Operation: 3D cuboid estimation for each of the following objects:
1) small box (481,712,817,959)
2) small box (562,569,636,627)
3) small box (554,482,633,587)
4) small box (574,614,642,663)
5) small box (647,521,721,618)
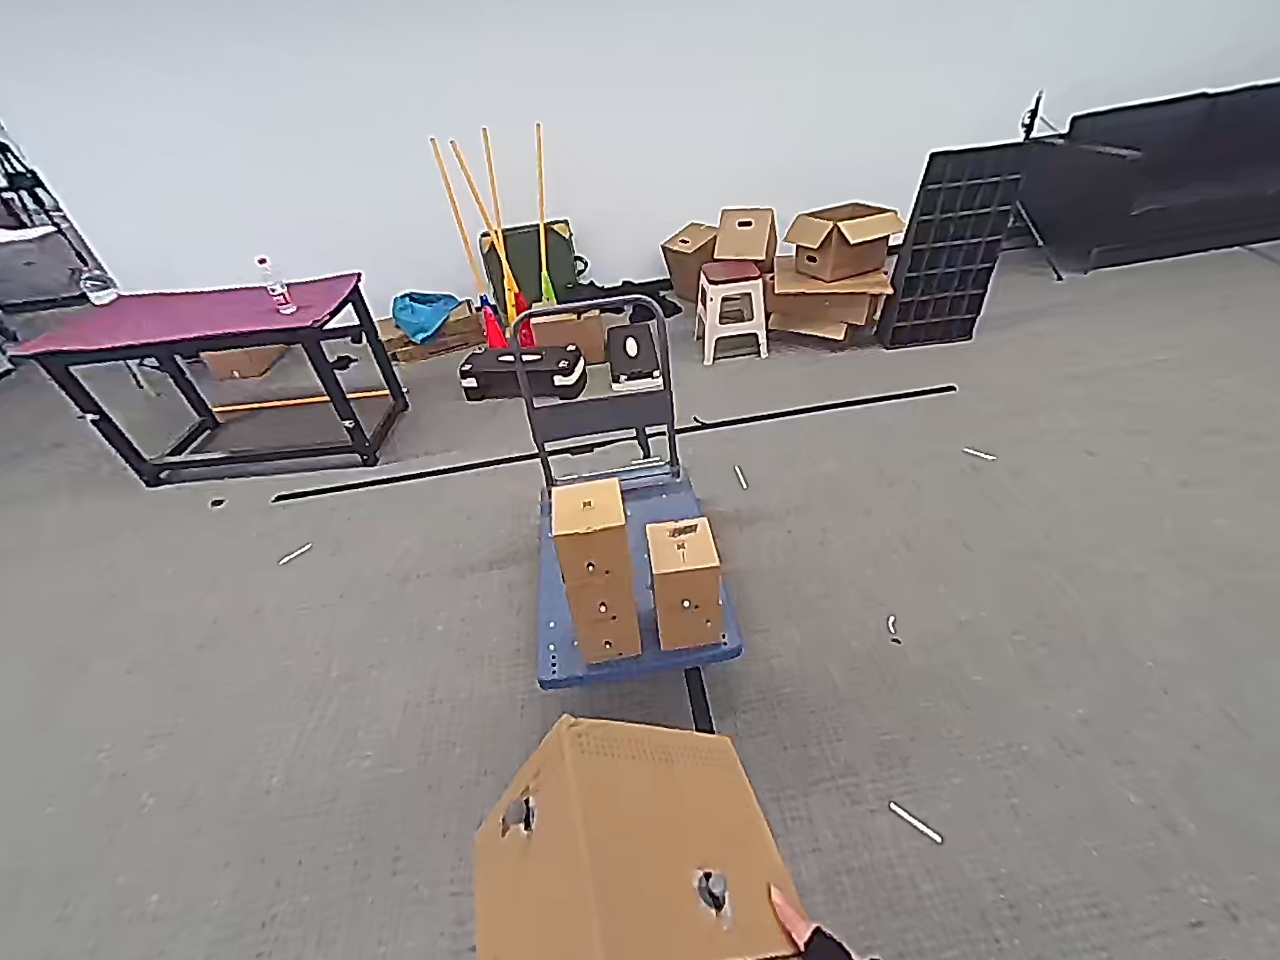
[{"bbox_3d":[-0.009,0.308,0.421,0.179,0.168,0.176,23,21,-28],"label":"small box"},{"bbox_3d":[-0.108,0.262,1.403,0.168,0.176,0.179,-10,39,-5],"label":"small box"},{"bbox_3d":[-0.114,0.131,1.305,0.168,0.176,0.179,-9,39,-3],"label":"small box"},{"bbox_3d":[-0.091,0.389,1.507,0.168,0.176,0.179,-9,38,-4],"label":"small box"},{"bbox_3d":[0.111,0.232,1.408,0.168,0.176,0.179,-8,39,-1],"label":"small box"}]
